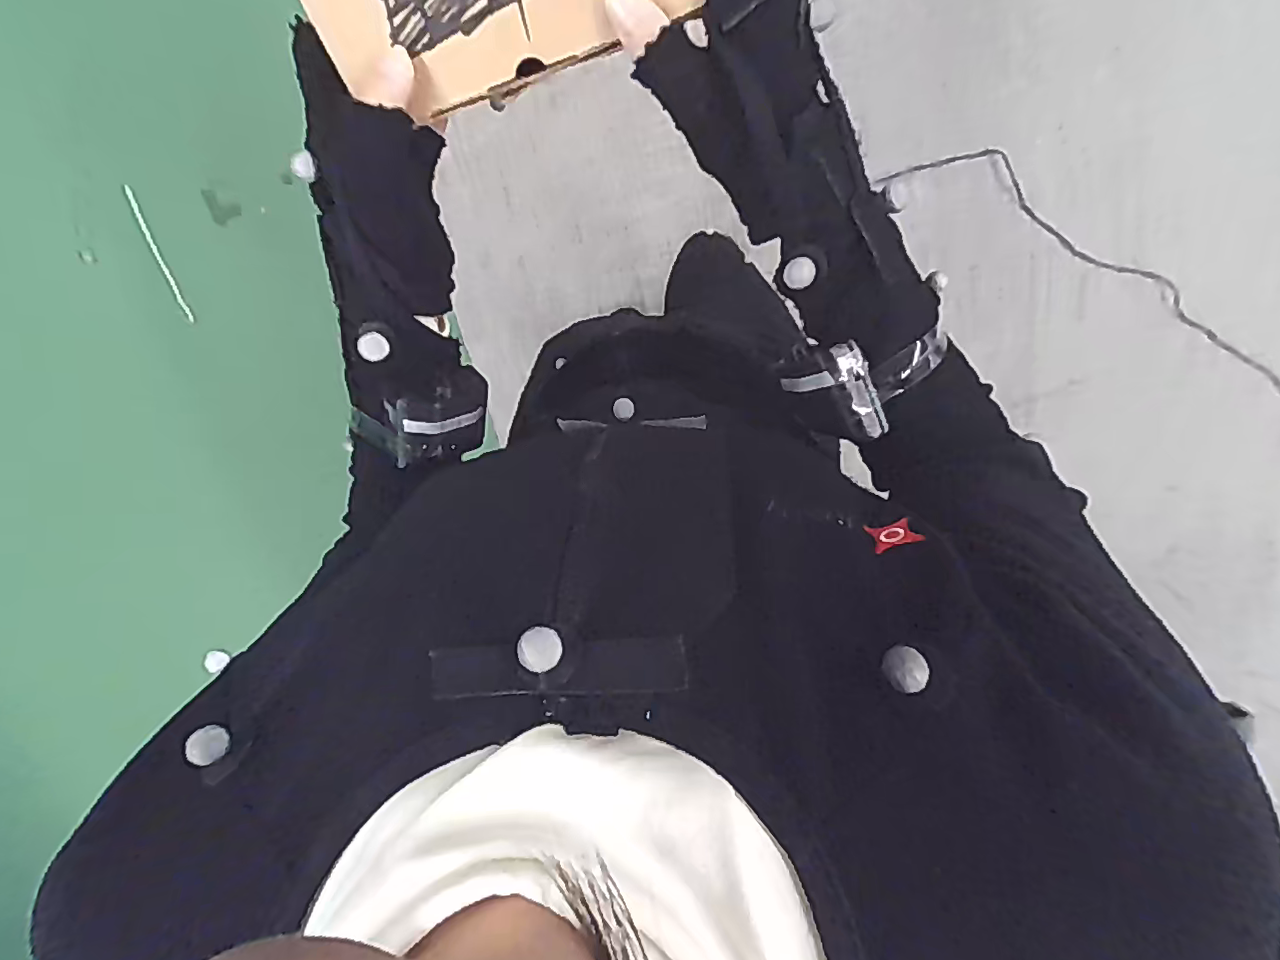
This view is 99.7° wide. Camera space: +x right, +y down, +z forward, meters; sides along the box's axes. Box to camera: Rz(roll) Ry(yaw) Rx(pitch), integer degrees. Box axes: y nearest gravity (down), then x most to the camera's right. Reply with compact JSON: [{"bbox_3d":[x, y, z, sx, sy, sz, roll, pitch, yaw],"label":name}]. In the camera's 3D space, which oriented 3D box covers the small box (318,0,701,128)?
[{"bbox_3d":[-0.070,-0.303,0.257,0.168,0.176,0.179,-12,129,10],"label":"small box"}]
